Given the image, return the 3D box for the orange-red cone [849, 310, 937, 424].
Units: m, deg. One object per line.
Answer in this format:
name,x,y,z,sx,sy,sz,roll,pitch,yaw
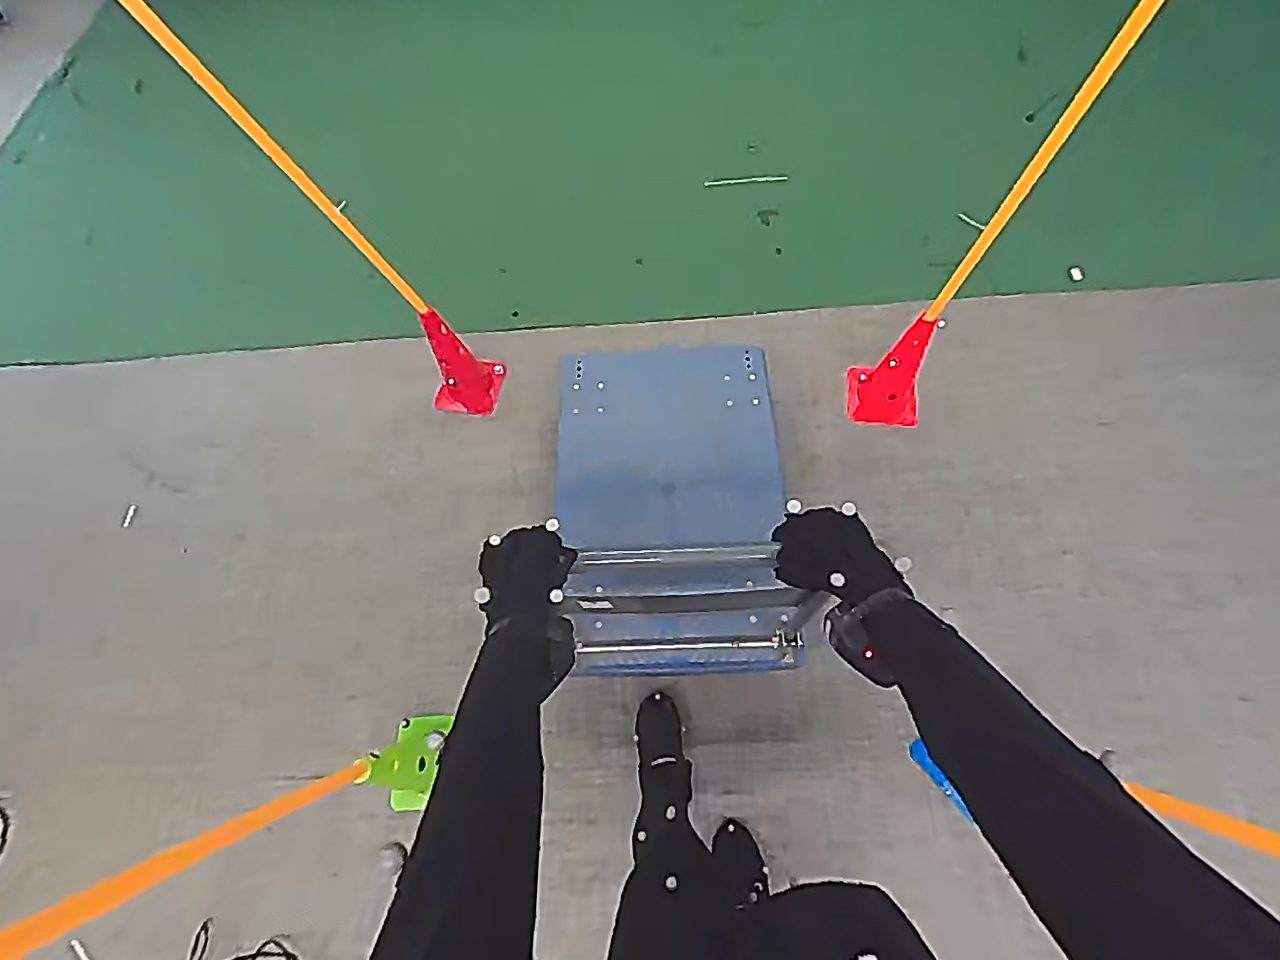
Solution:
orange-red cone,0.721,-0.329,1.477,0.198,0.360,0.199,7,67,8
